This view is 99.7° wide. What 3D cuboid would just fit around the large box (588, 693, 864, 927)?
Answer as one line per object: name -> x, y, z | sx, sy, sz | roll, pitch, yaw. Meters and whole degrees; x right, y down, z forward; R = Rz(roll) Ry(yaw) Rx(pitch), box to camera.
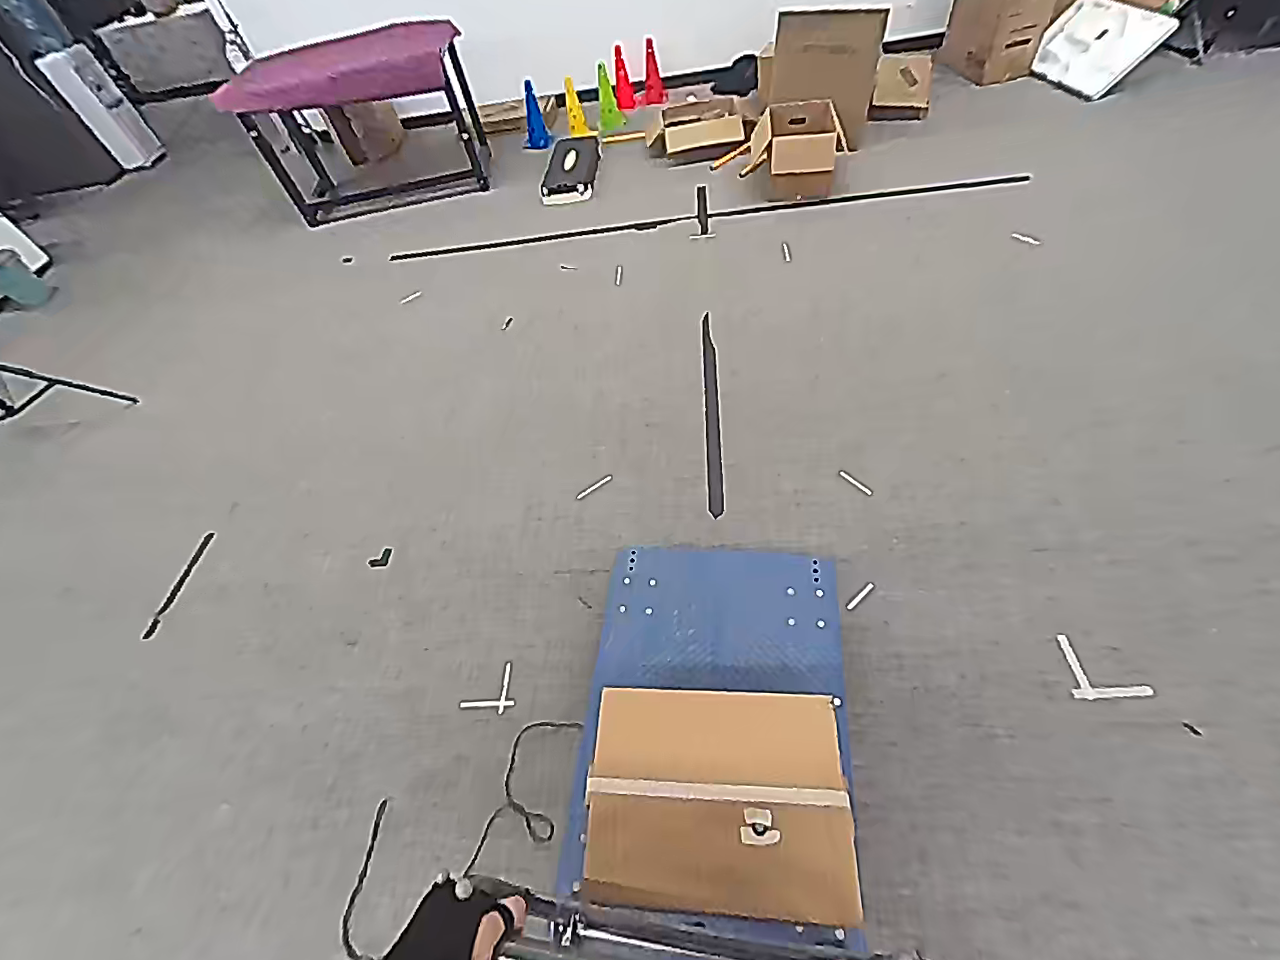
large box -> 0.141, 0.596, 0.982 | 0.408, 0.320, 0.320 | -1, 53, 7
